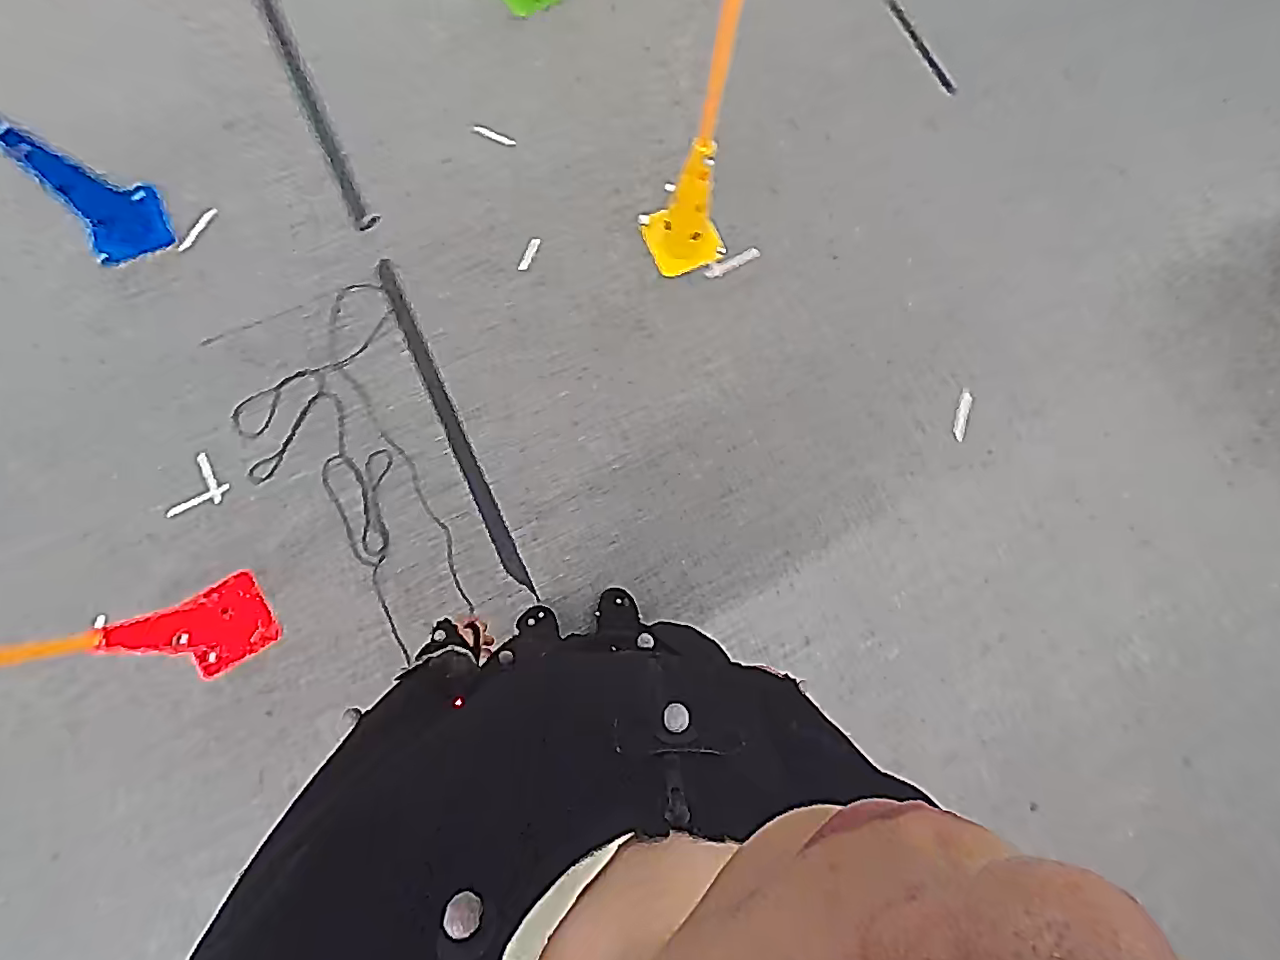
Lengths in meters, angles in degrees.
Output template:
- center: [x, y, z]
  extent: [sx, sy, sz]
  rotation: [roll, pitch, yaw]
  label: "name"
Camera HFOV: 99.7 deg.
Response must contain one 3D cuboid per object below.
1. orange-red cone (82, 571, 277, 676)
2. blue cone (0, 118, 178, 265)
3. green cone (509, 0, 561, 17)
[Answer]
- center: [-0.986, 0.312, 1.133]
  extent: [0.199, 0.360, 0.198]
  rotation: [-30, 84, -10]
  label: "orange-red cone"
- center: [-1.361, -0.719, 1.307]
  extent: [0.193, 0.380, 0.192]
  rotation: [-22, 83, -7]
  label: "blue cone"
- center: [-0.323, -1.579, 1.516]
  extent: [0.200, 0.368, 0.202]
  rotation: [-36, 86, -9]
  label: "green cone"
